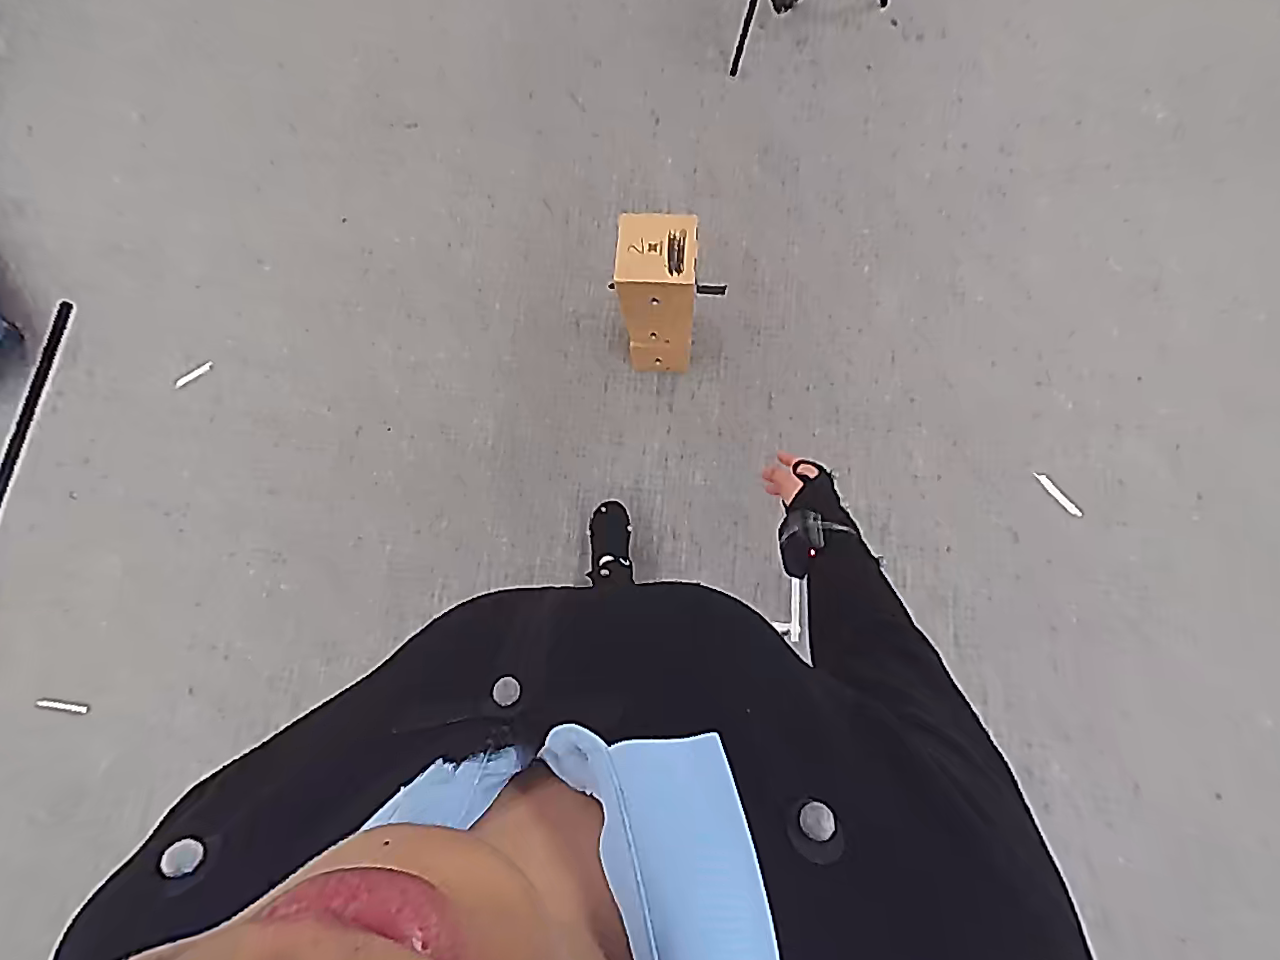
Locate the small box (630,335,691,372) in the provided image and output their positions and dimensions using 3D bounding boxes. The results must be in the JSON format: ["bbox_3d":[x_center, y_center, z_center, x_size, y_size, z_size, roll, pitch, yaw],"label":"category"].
[{"bbox_3d":[0.065,-0.423,1.561,0.168,0.176,0.179,3,78,4],"label":"small box"}]

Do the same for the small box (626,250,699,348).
[{"bbox_3d":[0.059,-0.465,1.404,0.168,0.176,0.179,6,79,5],"label":"small box"}]
